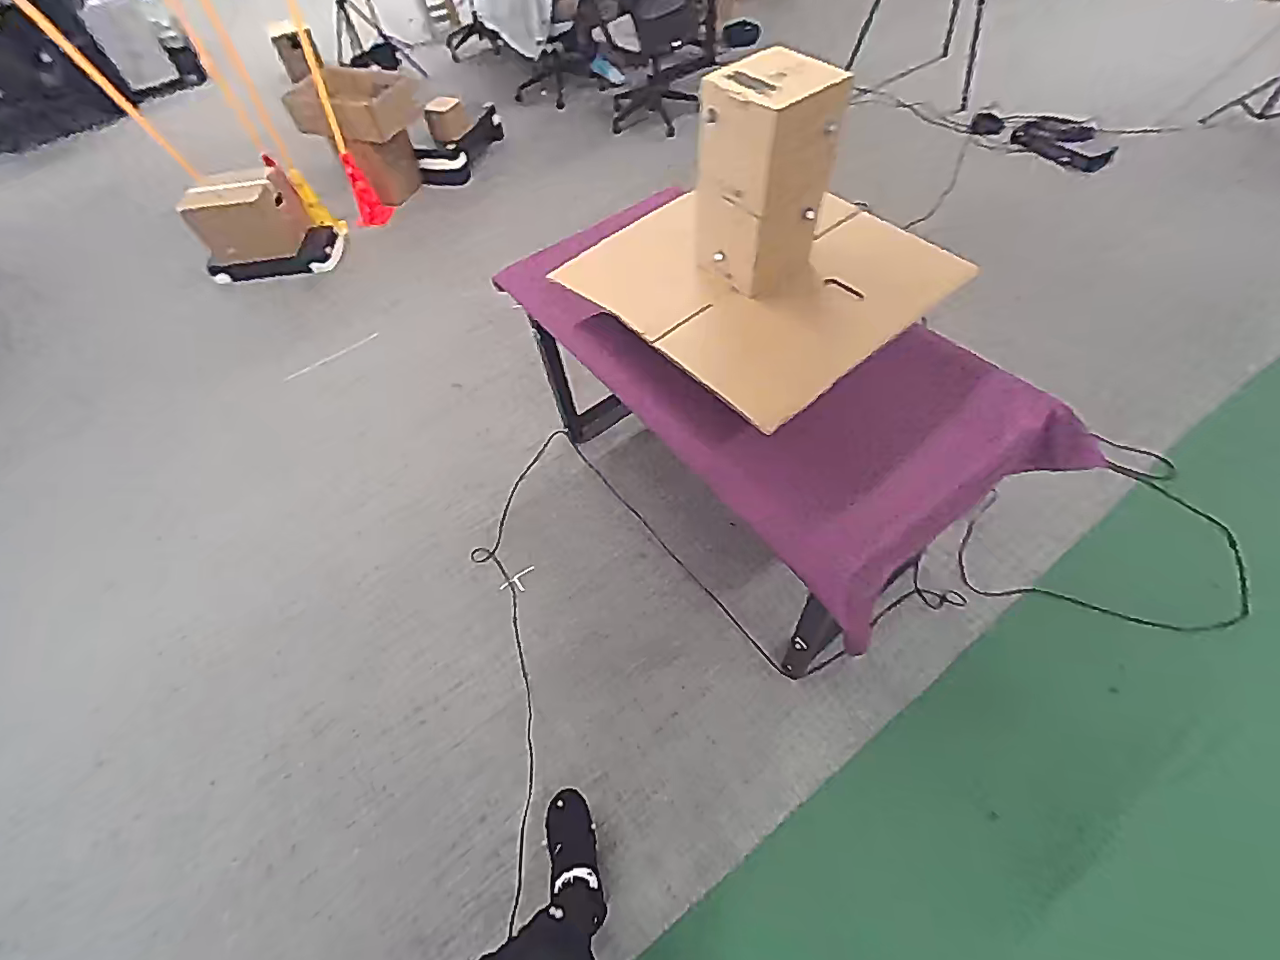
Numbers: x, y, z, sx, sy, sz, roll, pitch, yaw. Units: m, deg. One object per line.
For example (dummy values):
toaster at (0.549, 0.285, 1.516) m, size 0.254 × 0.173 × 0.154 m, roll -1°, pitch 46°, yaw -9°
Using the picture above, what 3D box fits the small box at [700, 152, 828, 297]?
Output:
small box at (0.230, -0.496, 1.059) m, size 0.179 × 0.176 × 0.168 m, roll -35°, pitch 61°, yaw -17°
